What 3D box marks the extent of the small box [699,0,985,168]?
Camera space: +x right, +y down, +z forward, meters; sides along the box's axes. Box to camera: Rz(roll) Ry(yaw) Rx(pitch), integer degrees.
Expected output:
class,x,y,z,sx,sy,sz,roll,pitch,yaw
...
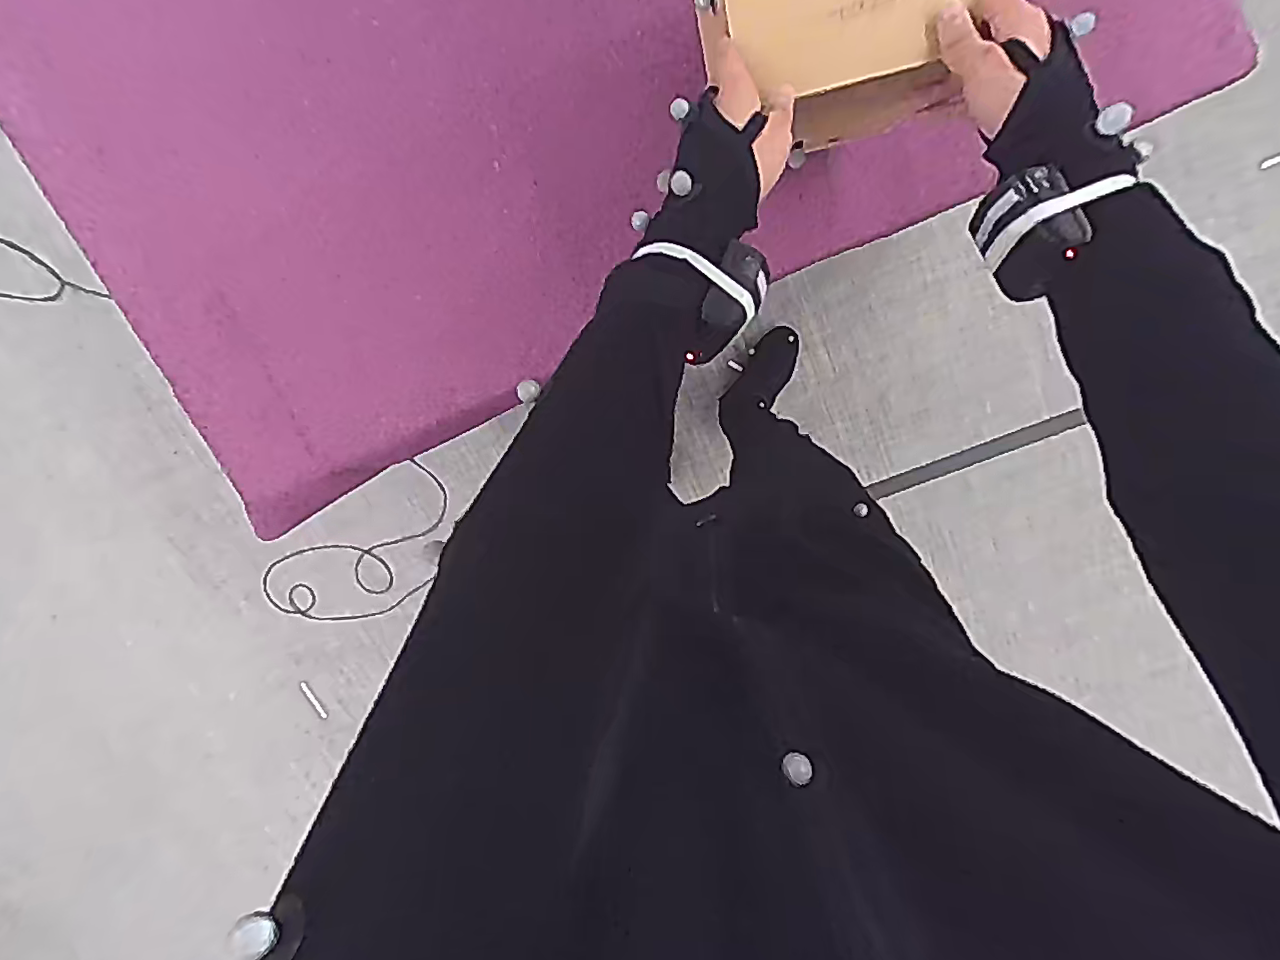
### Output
class,x,y,z,sx,sy,sz,roll,pitch,yaw
small box,0.139,-0.379,0.425,0.168,0.176,0.179,-10,105,7
